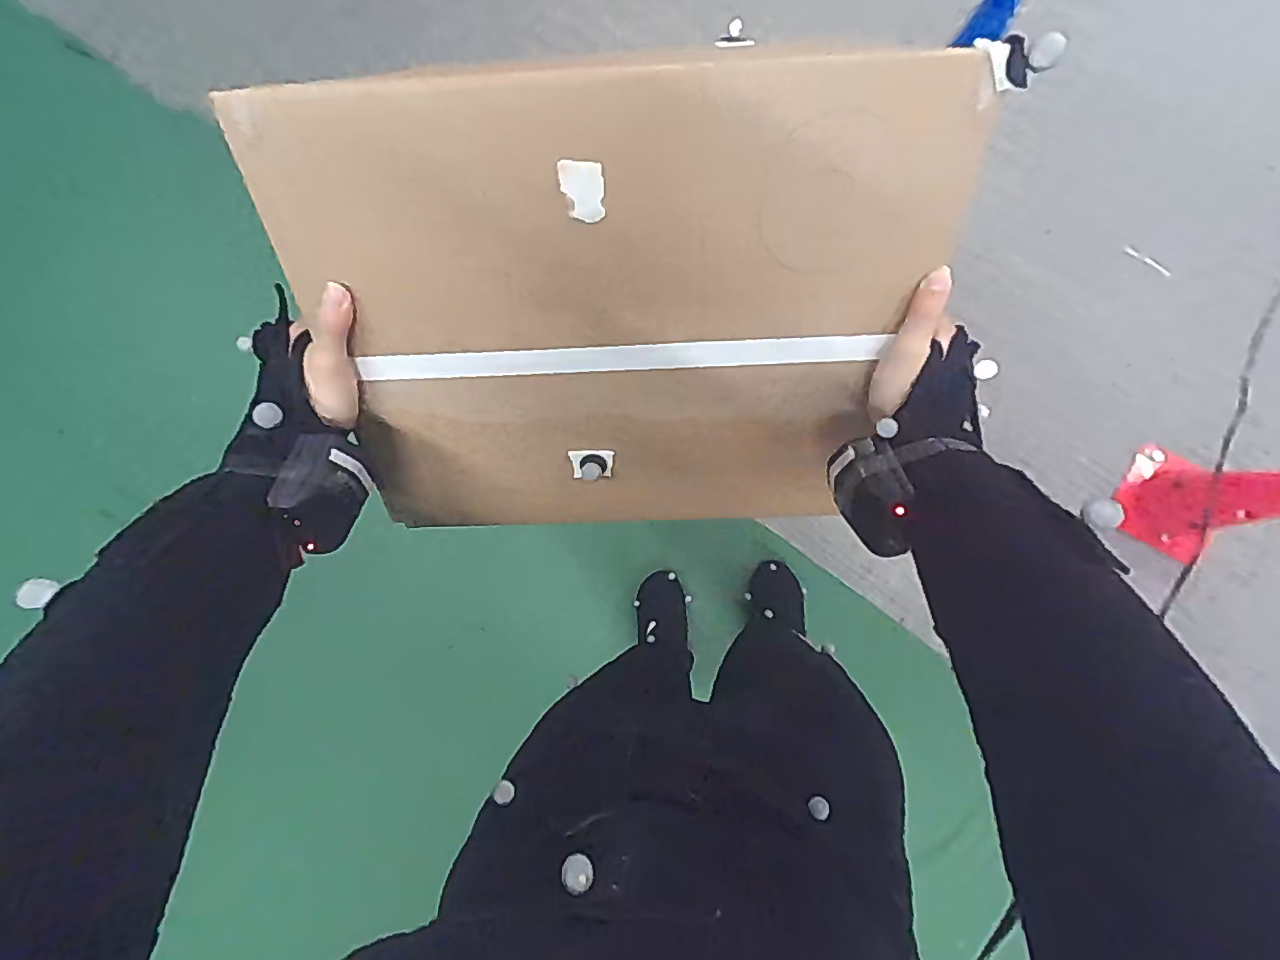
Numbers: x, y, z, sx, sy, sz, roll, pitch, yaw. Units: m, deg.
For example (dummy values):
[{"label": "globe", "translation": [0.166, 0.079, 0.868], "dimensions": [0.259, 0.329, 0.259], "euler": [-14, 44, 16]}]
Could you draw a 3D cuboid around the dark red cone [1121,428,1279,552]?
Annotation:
[{"label": "dark red cone", "translation": [1.086, 0.004, 0.928], "dimensions": [0.202, 0.394, 0.201], "euler": [29, 89, 8]}]
